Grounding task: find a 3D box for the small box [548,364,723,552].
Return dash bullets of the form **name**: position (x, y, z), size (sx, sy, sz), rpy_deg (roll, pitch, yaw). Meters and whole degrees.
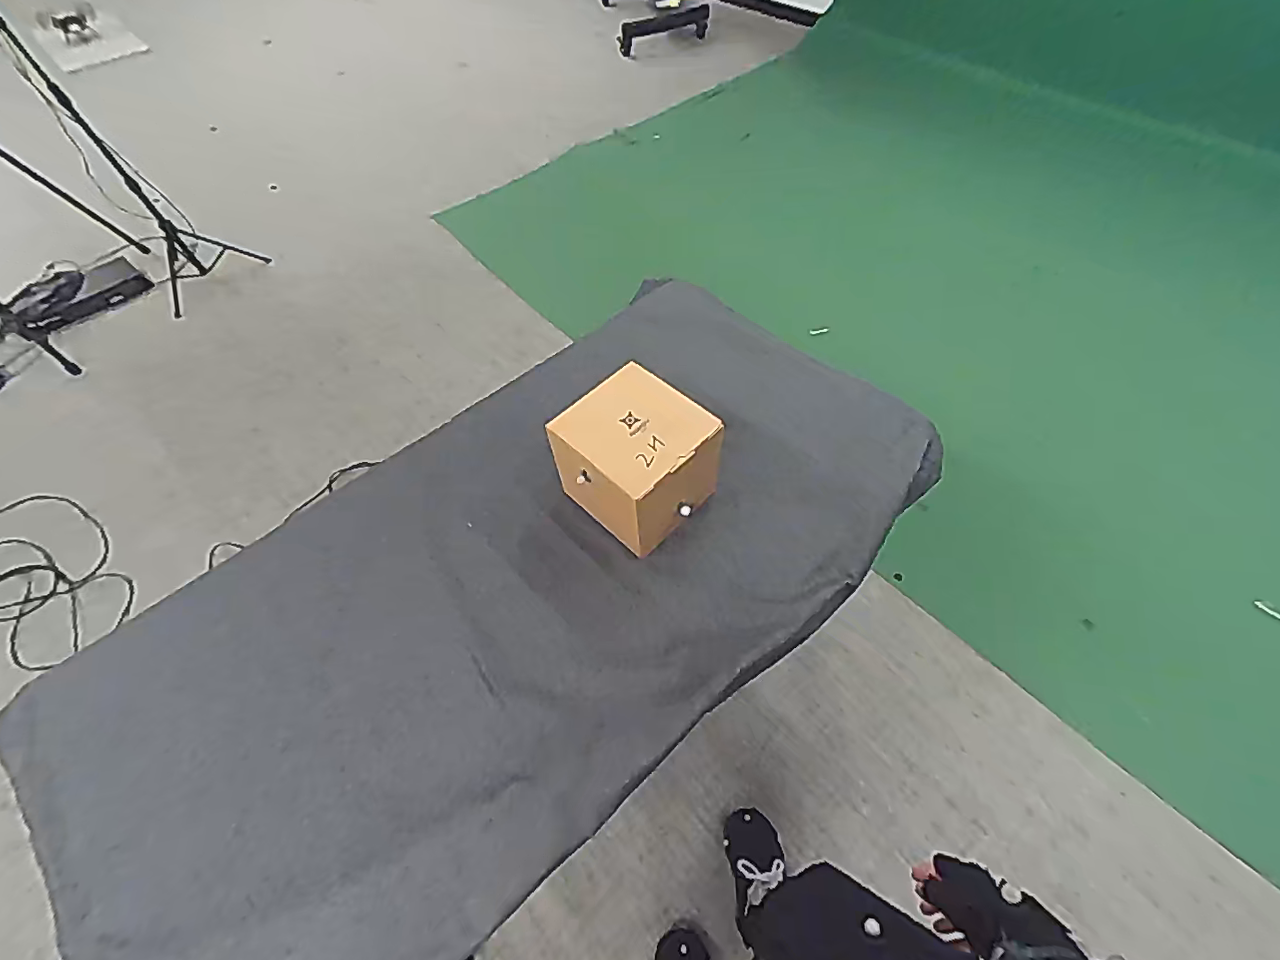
- **small box**: position (-0.005, -0.028, 0.780), size (0.168, 0.176, 0.179), rpy_deg (-40, 64, -21)
